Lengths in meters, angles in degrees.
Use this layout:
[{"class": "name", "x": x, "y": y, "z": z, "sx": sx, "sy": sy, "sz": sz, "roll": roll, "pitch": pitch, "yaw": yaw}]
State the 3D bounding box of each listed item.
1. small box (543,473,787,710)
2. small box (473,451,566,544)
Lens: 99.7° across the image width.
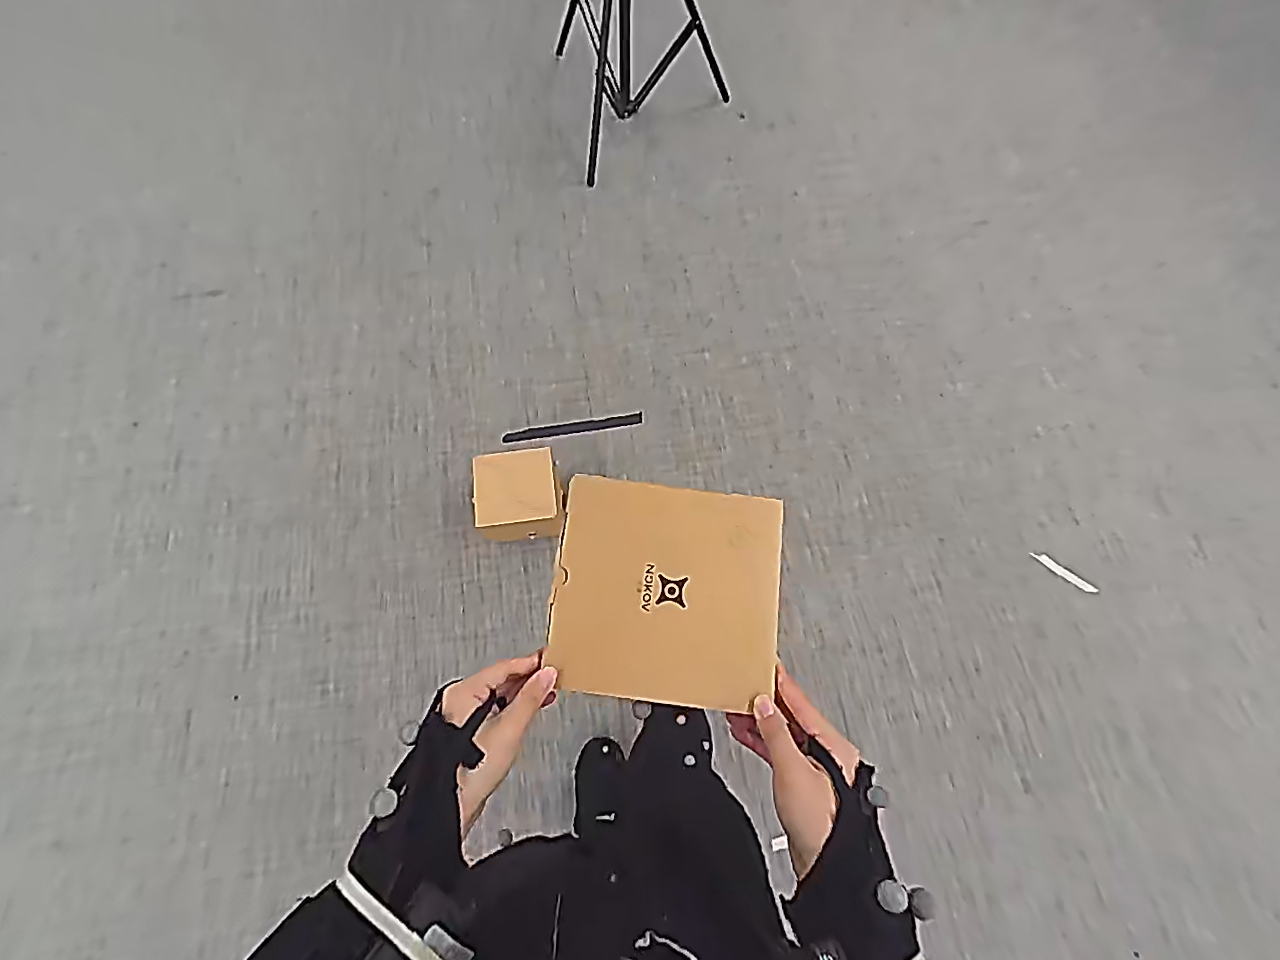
[{"class": "small box", "x": 0.024, "y": 0.102, "z": 0.497, "sx": 0.179, "sy": 0.176, "sz": 0.168, "roll": 6, "pitch": 74, "yaw": 3}, {"class": "small box", "x": -0.274, "y": 0.043, "z": 1.252, "sx": 0.179, "sy": 0.176, "sz": 0.168, "roll": -7, "pitch": 71, "yaw": -4}]
